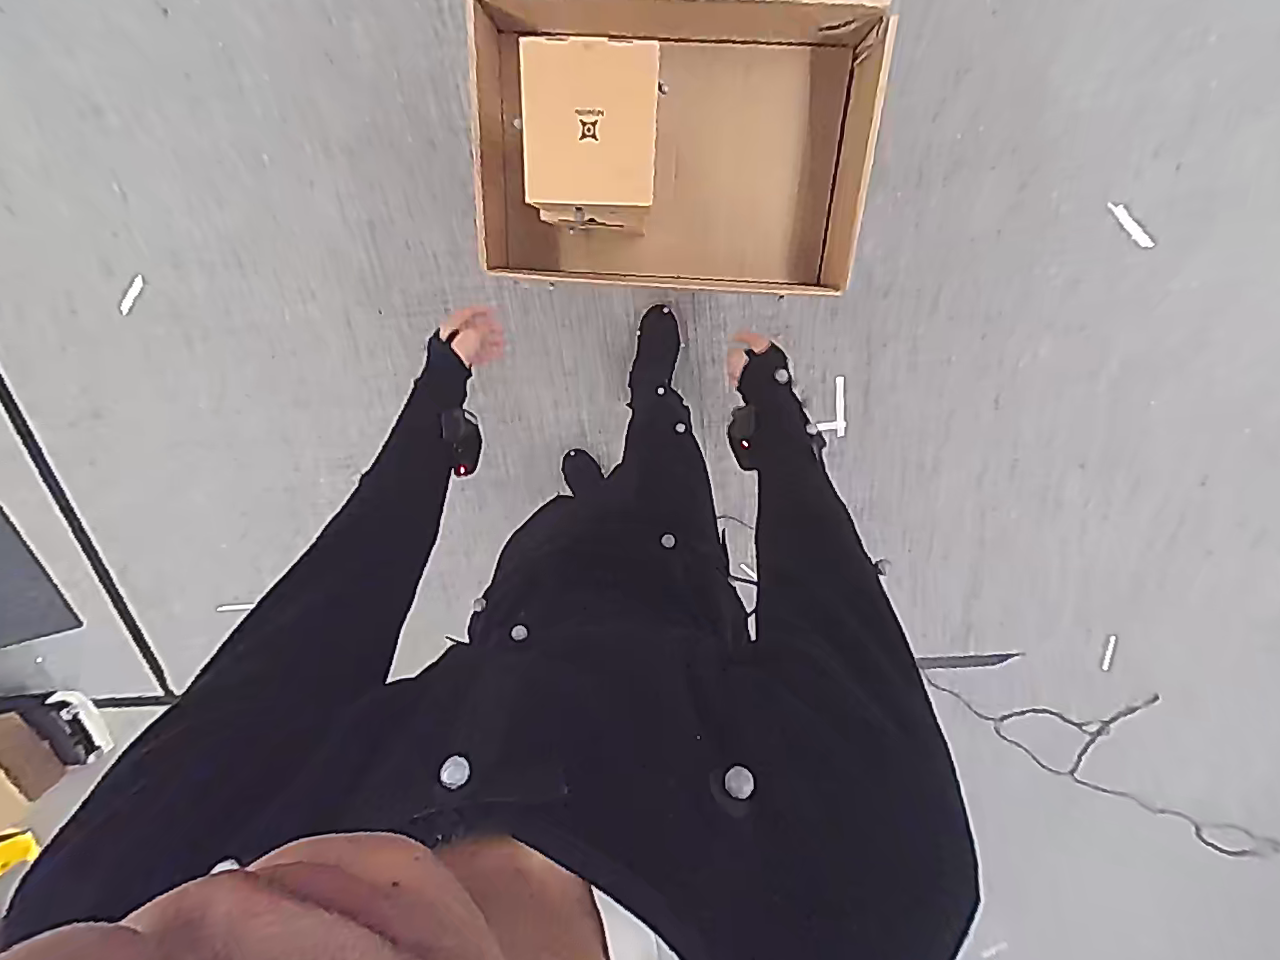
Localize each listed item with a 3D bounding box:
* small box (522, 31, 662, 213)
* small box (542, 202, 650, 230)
[{"bbox_3d":[-0.056,-0.466,0.730,0.168,0.176,0.179,2,111,1],"label":"small box"},{"bbox_3d":[-0.060,-0.515,0.886,0.168,0.176,0.179,6,111,0],"label":"small box"}]
